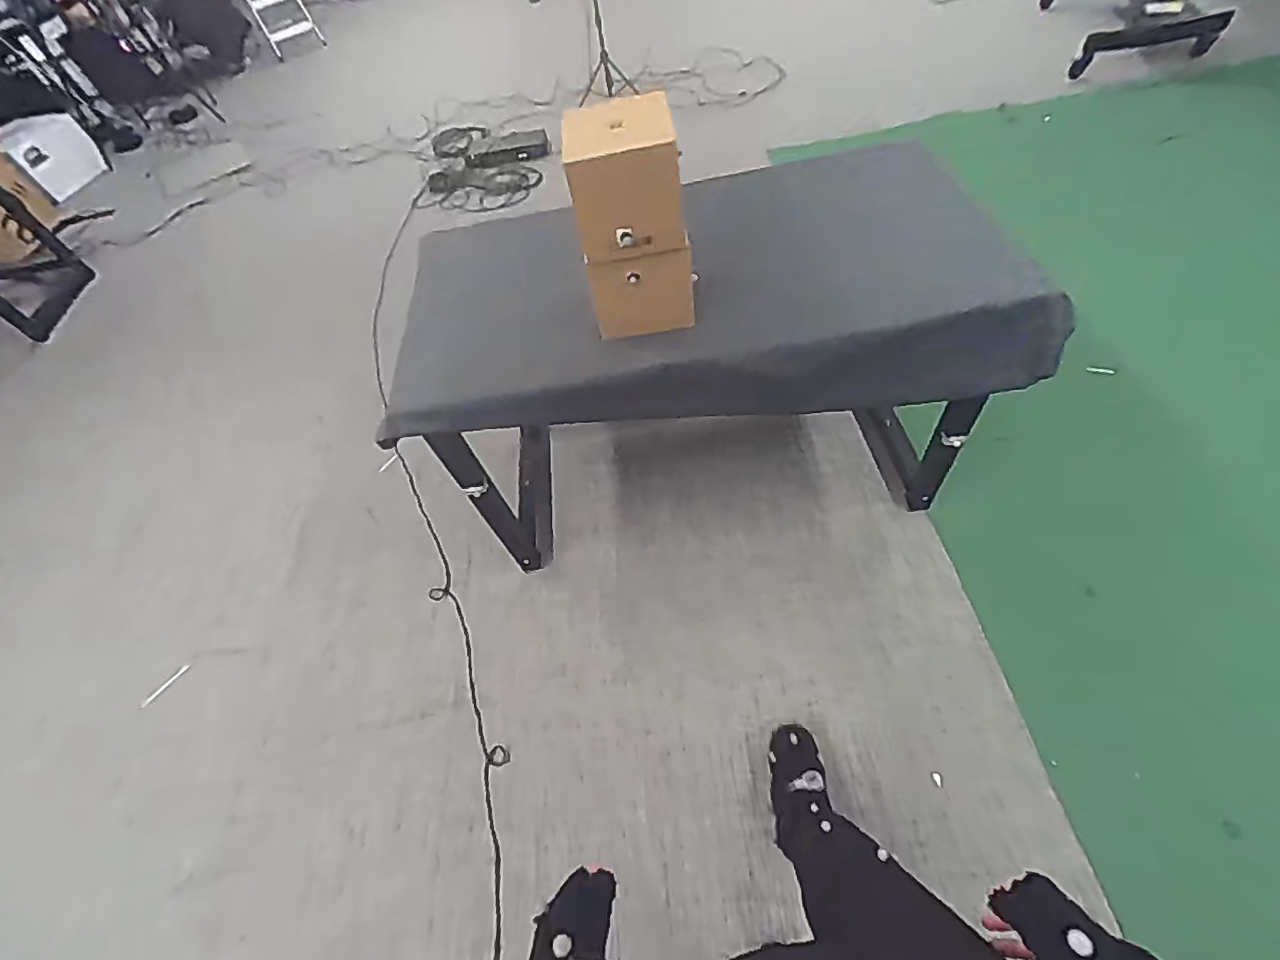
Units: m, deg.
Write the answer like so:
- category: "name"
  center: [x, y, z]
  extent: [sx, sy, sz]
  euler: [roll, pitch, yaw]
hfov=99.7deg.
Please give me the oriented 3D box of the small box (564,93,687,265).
- category: "small box"
  center: [-0.021, -0.477, 0.867]
  extent: [0.168, 0.176, 0.179]
  euler: [-10, 56, 5]

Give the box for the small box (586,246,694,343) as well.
- category: "small box"
  center: [0.002, -0.377, 1.013]
  extent: [0.179, 0.176, 0.168]
  euler: [-7, 55, 4]
